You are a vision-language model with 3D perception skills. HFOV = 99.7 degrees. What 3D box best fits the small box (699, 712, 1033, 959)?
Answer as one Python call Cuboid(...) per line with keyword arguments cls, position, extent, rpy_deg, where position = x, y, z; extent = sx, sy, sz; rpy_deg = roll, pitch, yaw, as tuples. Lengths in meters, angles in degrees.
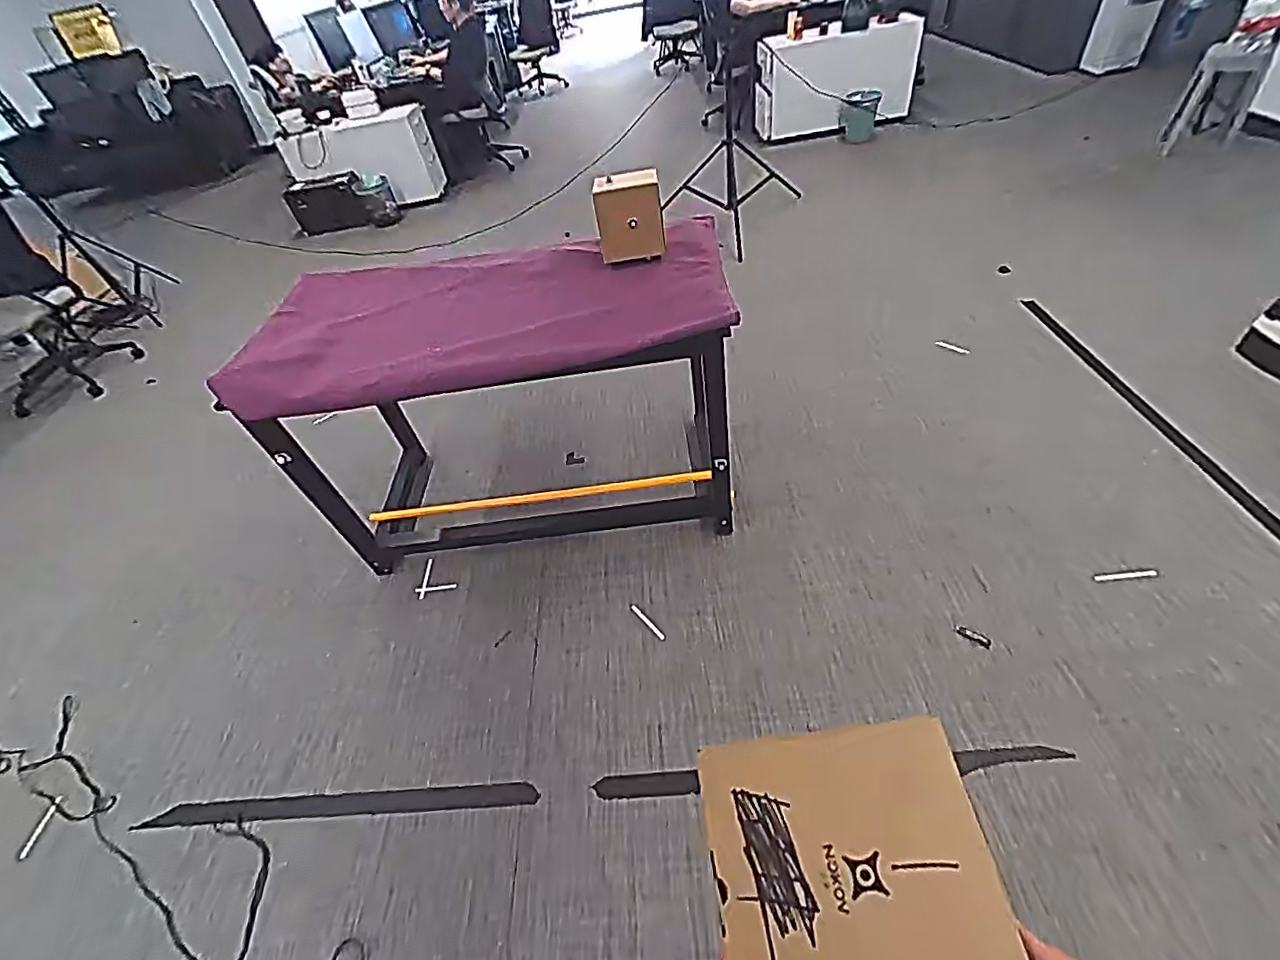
Cuboid(cls="small box", position=(0.151, 0.286, 0.412), extent=(0.179, 0.176, 0.168), rpy_deg=(-11, 59, 6))
